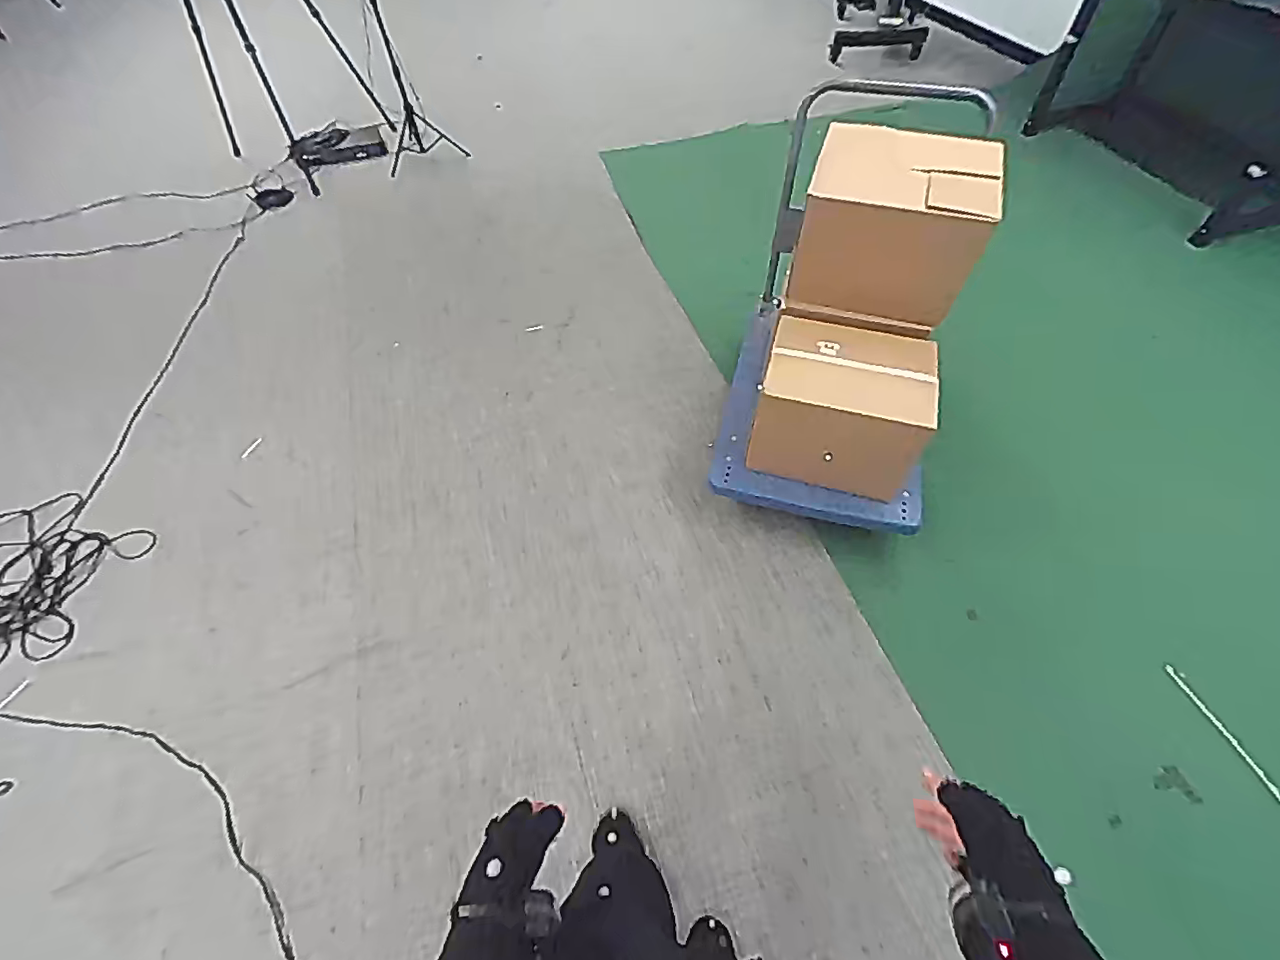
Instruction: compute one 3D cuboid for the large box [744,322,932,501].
[{"bbox_3d":[0.524,-0.182,1.465,0.408,0.320,0.320,14,56,12],"label":"large box"}]
